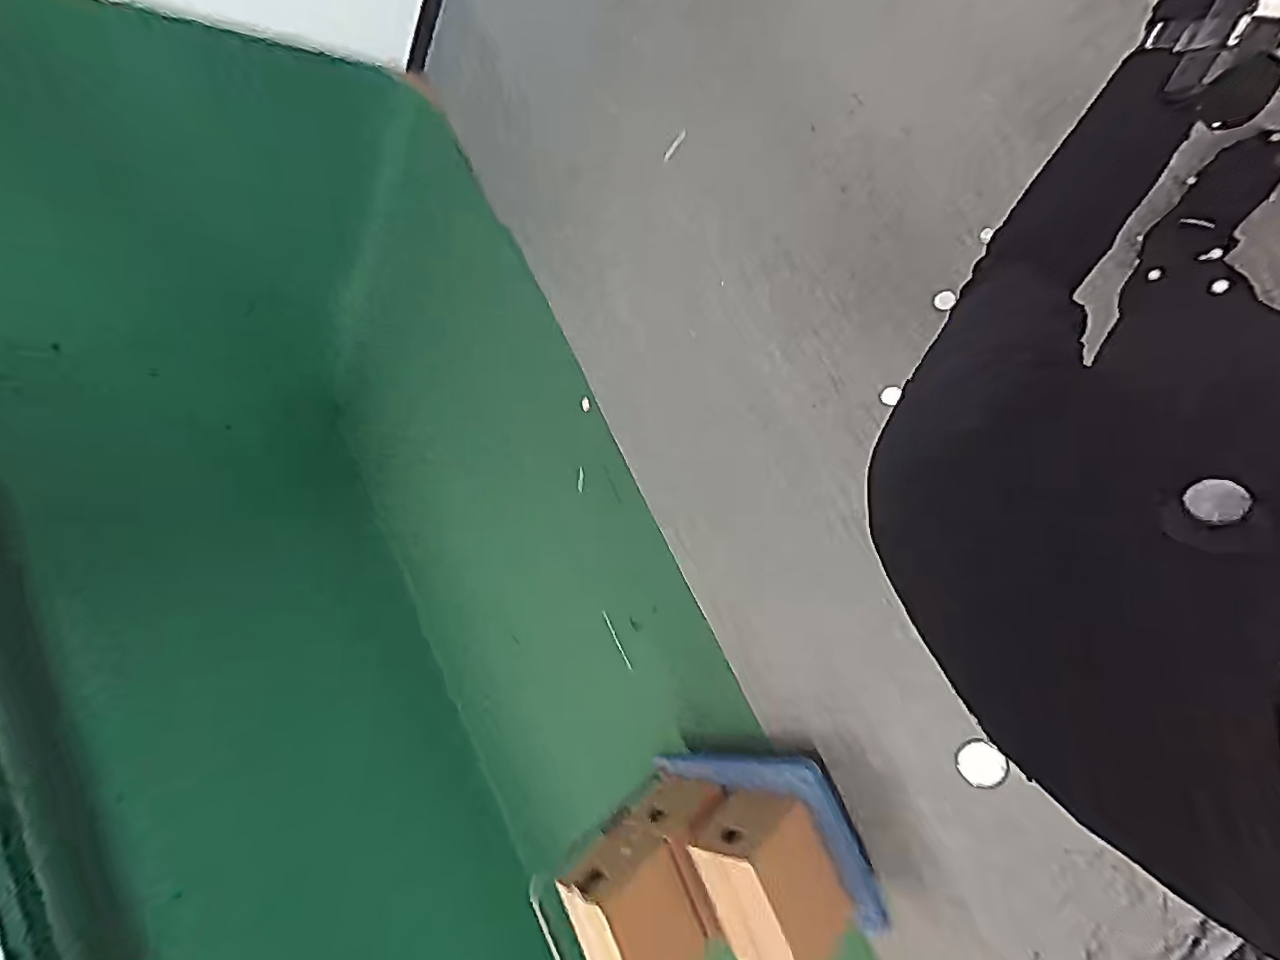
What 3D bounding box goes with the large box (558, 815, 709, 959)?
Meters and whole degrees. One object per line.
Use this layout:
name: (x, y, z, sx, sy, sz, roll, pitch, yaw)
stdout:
large box: (-0.023, 1.499, 1.926, 0.320, 0.320, 0.408, -26, 87, 50)
